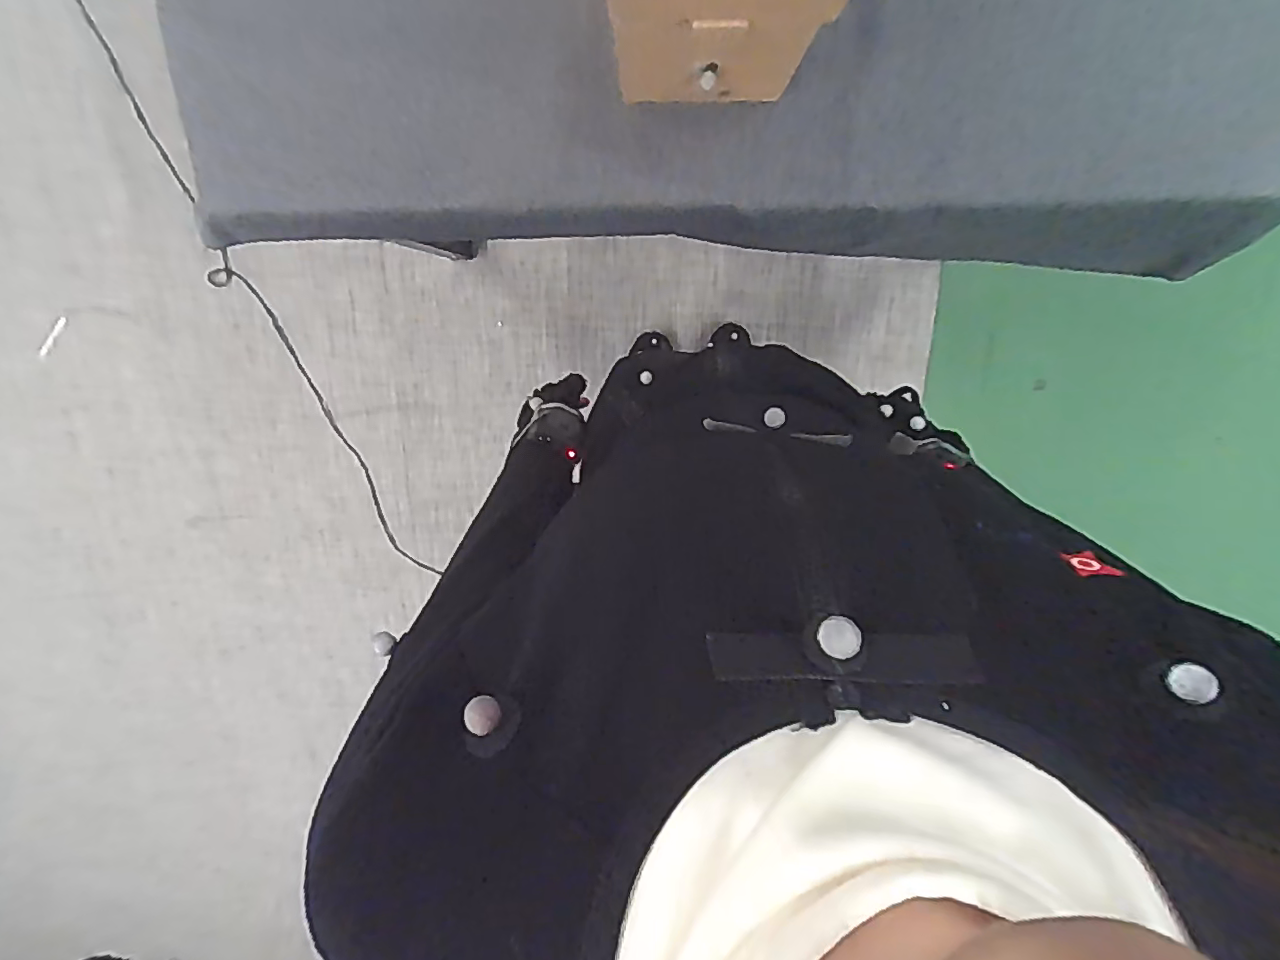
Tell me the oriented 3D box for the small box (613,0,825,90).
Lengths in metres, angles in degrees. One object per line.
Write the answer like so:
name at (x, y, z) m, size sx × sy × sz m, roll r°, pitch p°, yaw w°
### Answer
small box at (0.065, -0.464, 0.468) m, size 0.168 × 0.176 × 0.179 m, roll 0°, pitch 108°, yaw 2°

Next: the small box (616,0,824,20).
small box at (0.066, -0.407, 0.313) m, size 0.179 × 0.176 × 0.168 m, roll -2°, pitch 107°, yaw 1°
